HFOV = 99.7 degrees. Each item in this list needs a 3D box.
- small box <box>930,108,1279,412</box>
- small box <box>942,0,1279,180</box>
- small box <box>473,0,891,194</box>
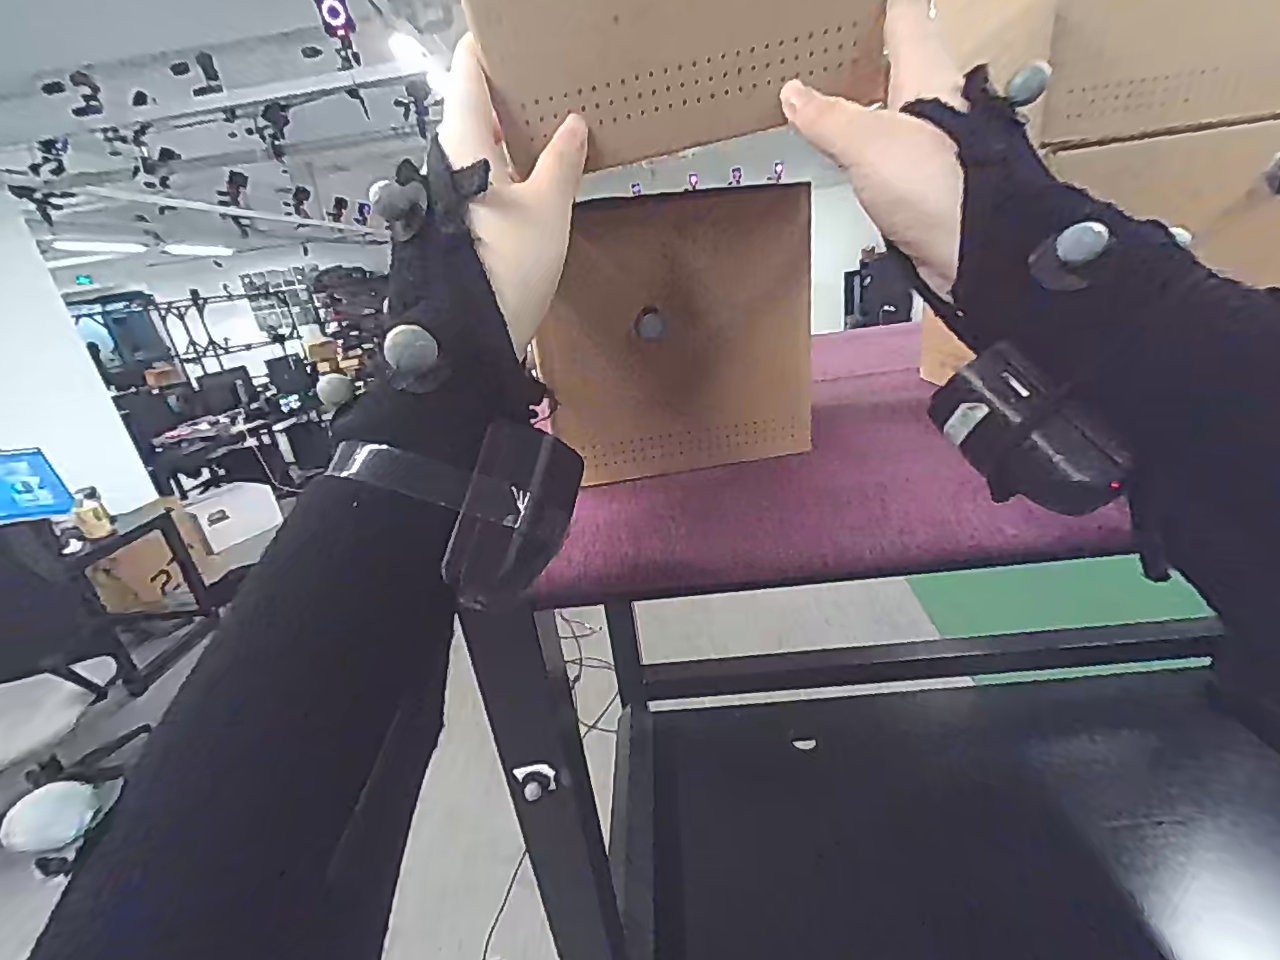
[{"bbox_3d":[0.342,-0.153,0.409,0.179,0.176,0.168,-5,20,5],"label":"small box"},{"bbox_3d":[0.322,-0.308,0.357,0.179,0.176,0.168,-4,20,5],"label":"small box"},{"bbox_3d":[0.010,-0.258,0.265,0.179,0.176,0.168,-14,32,2],"label":"small box"}]
